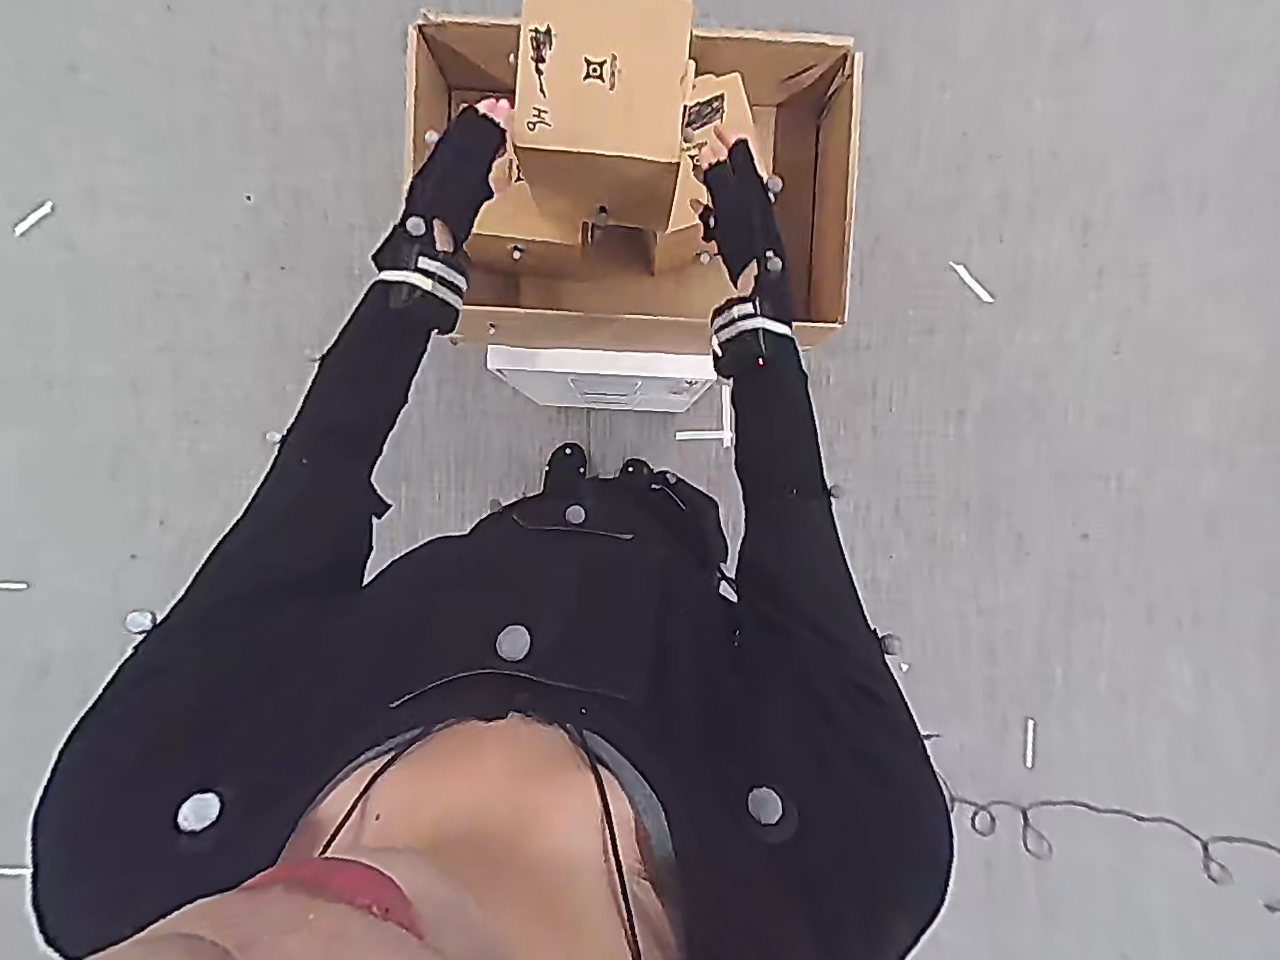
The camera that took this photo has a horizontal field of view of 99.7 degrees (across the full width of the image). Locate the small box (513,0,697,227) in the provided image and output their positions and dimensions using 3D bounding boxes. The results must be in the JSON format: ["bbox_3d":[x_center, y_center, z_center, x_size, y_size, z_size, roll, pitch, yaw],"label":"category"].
[{"bbox_3d":[-0.039,-0.415,0.629,0.179,0.176,0.168,5,92,-2],"label":"small box"}]
